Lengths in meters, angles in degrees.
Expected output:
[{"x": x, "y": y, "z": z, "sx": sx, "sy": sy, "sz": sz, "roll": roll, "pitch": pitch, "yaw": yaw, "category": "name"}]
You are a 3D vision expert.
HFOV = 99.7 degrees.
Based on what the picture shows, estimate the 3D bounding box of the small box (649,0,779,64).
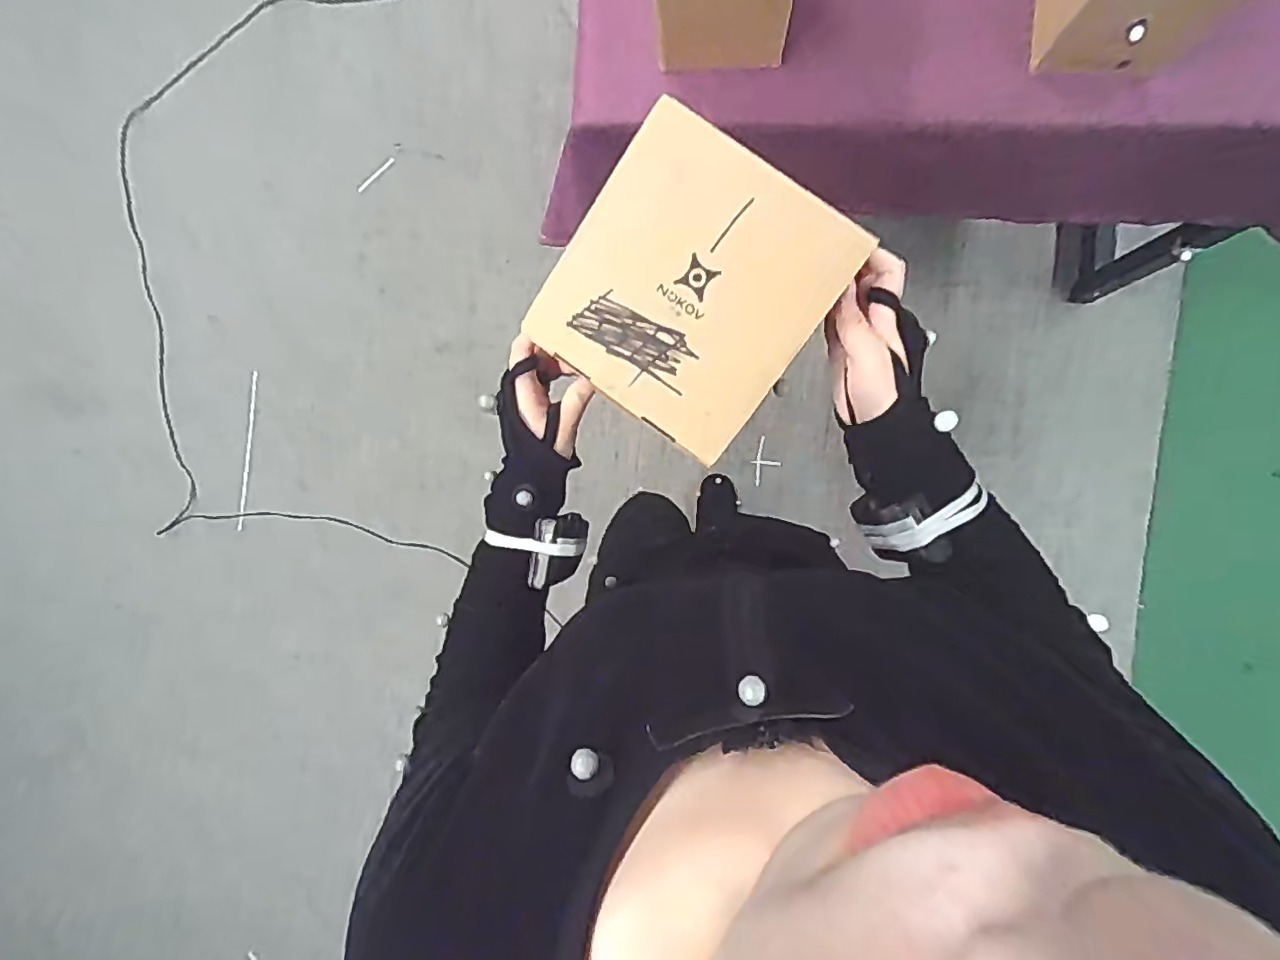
[{"x": 0.099, "y": -0.700, "z": 0.722, "sx": 0.179, "sy": 0.176, "sz": 0.168, "roll": 1, "pitch": 87, "yaw": 7, "category": "small box"}]
